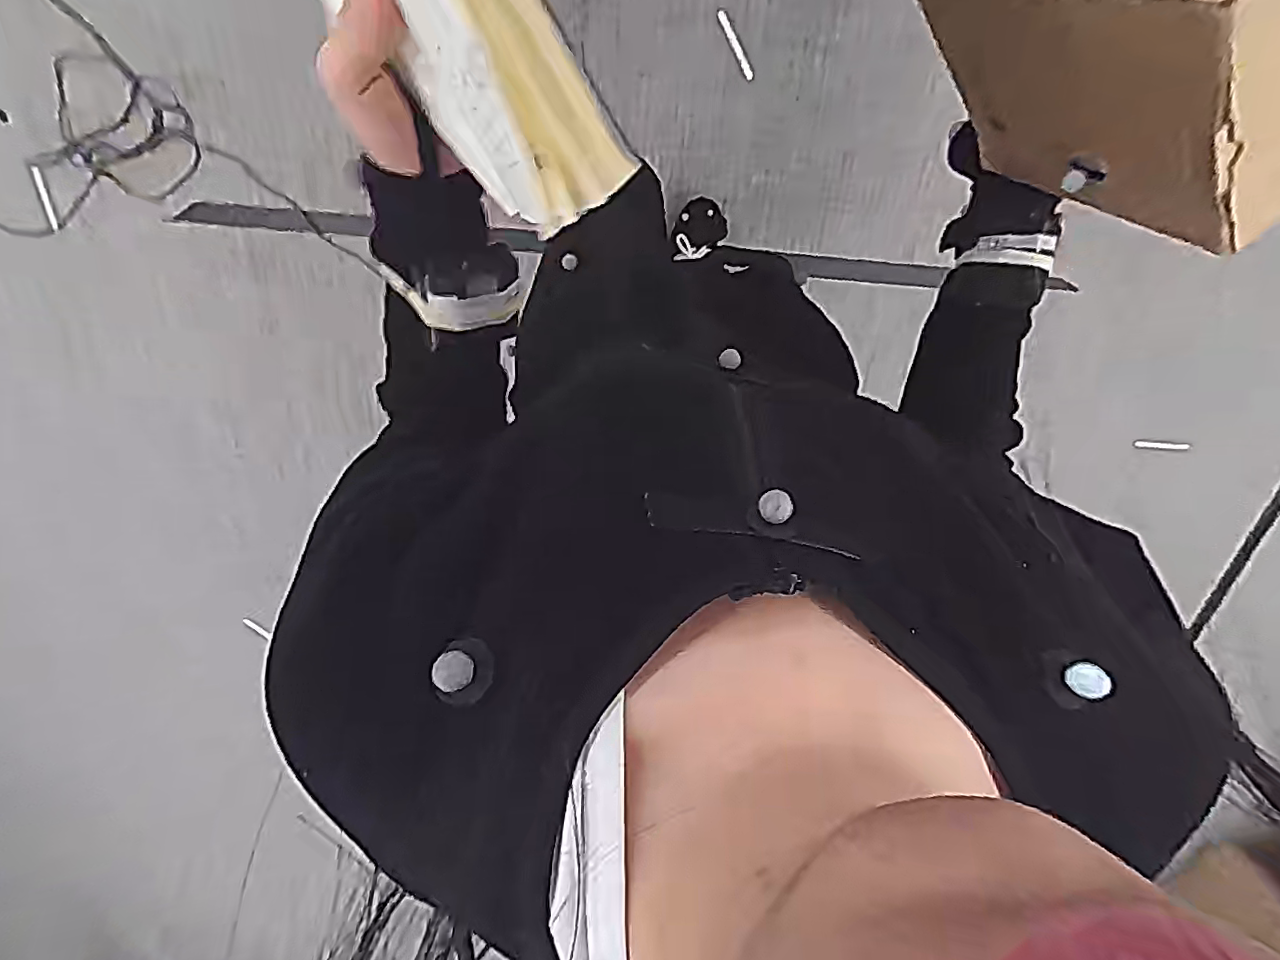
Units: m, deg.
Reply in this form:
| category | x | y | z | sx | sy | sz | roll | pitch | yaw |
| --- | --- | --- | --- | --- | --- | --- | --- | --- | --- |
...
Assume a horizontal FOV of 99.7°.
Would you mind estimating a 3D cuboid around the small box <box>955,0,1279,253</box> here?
| category | x | y | z | sx | sy | sz | roll | pitch | yaw |
| --- | --- | --- | --- | --- | --- | --- | --- | --- | --- |
| small box | 0.287 | -0.254 | 0.256 | 0.168 | 0.176 | 0.179 | 21 | 120 | -41 |
